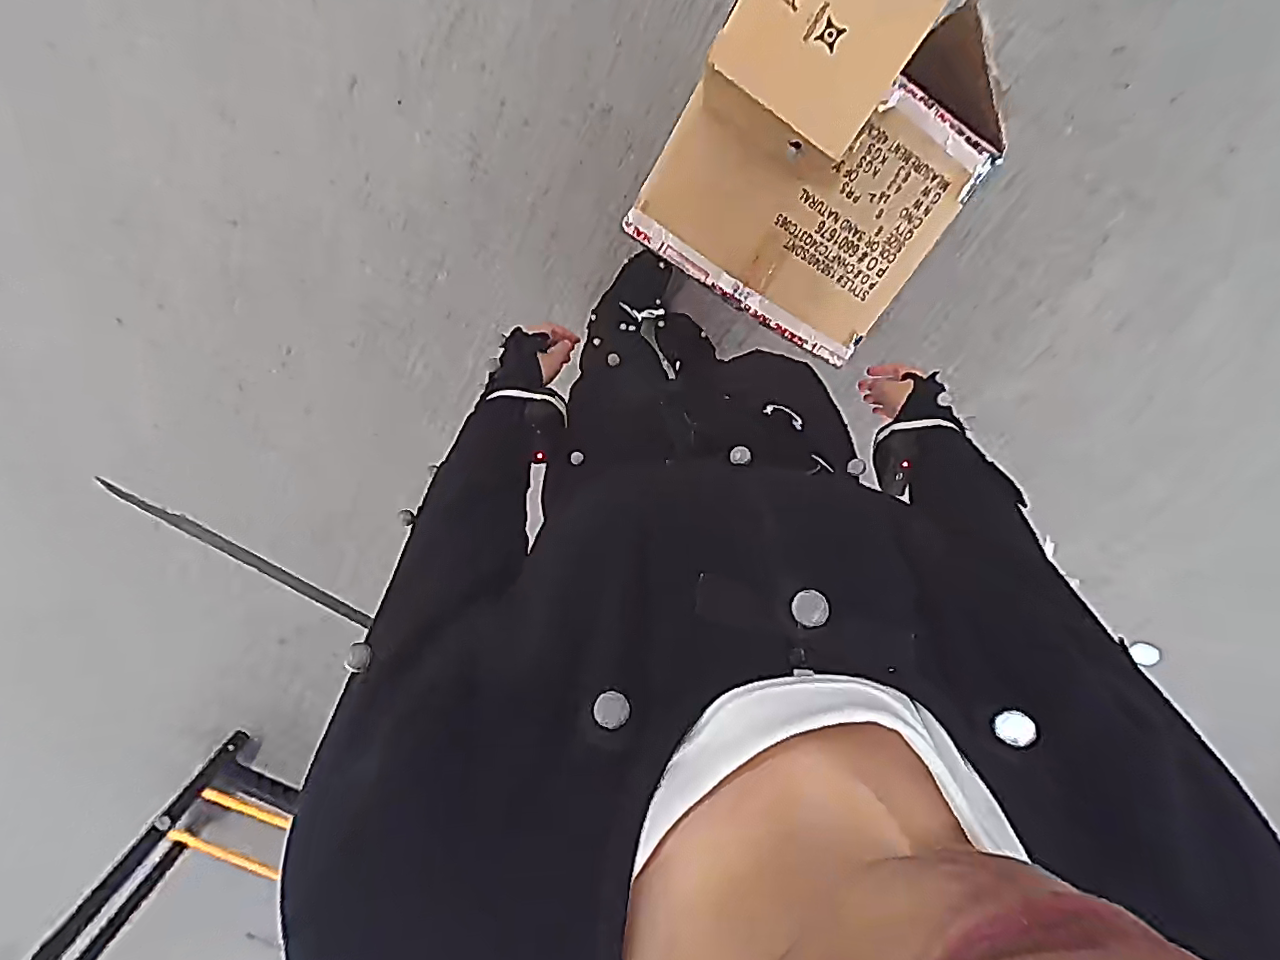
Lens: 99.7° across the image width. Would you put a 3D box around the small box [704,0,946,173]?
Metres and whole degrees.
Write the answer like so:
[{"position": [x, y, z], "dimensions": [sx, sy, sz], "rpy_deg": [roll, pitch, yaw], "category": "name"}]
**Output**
[{"position": [0.188, -0.475, 0.608], "dimensions": [0.179, 0.176, 0.168], "rpy_deg": [33, 111, -7], "category": "small box"}]
